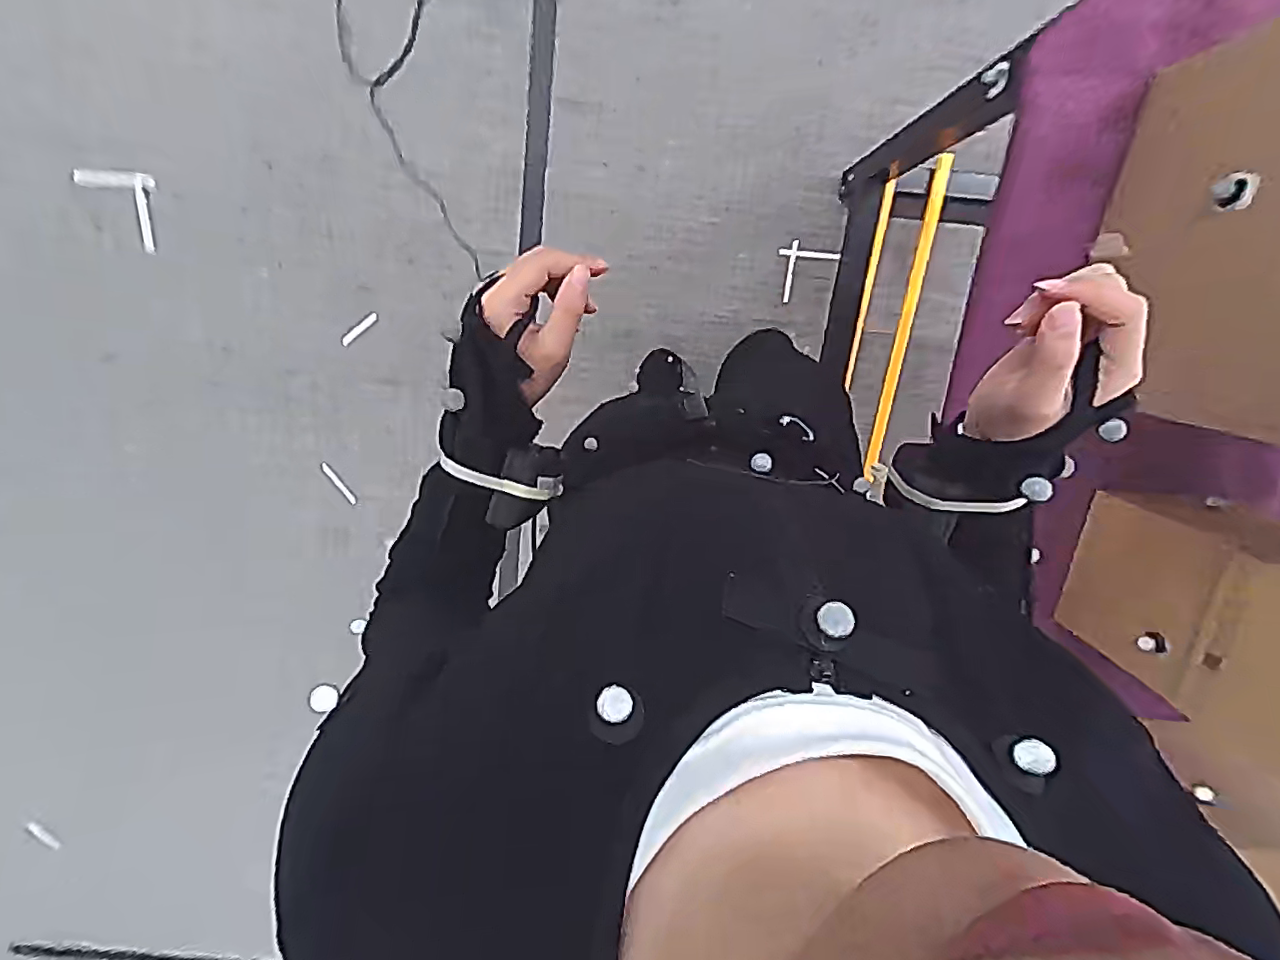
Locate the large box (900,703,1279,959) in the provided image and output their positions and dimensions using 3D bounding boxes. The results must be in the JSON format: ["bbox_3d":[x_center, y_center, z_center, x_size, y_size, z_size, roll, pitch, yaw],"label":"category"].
[{"bbox_3d":[0.589,0.492,0.623,0.408,0.320,0.320,5,107,-3],"label":"large box"}]
